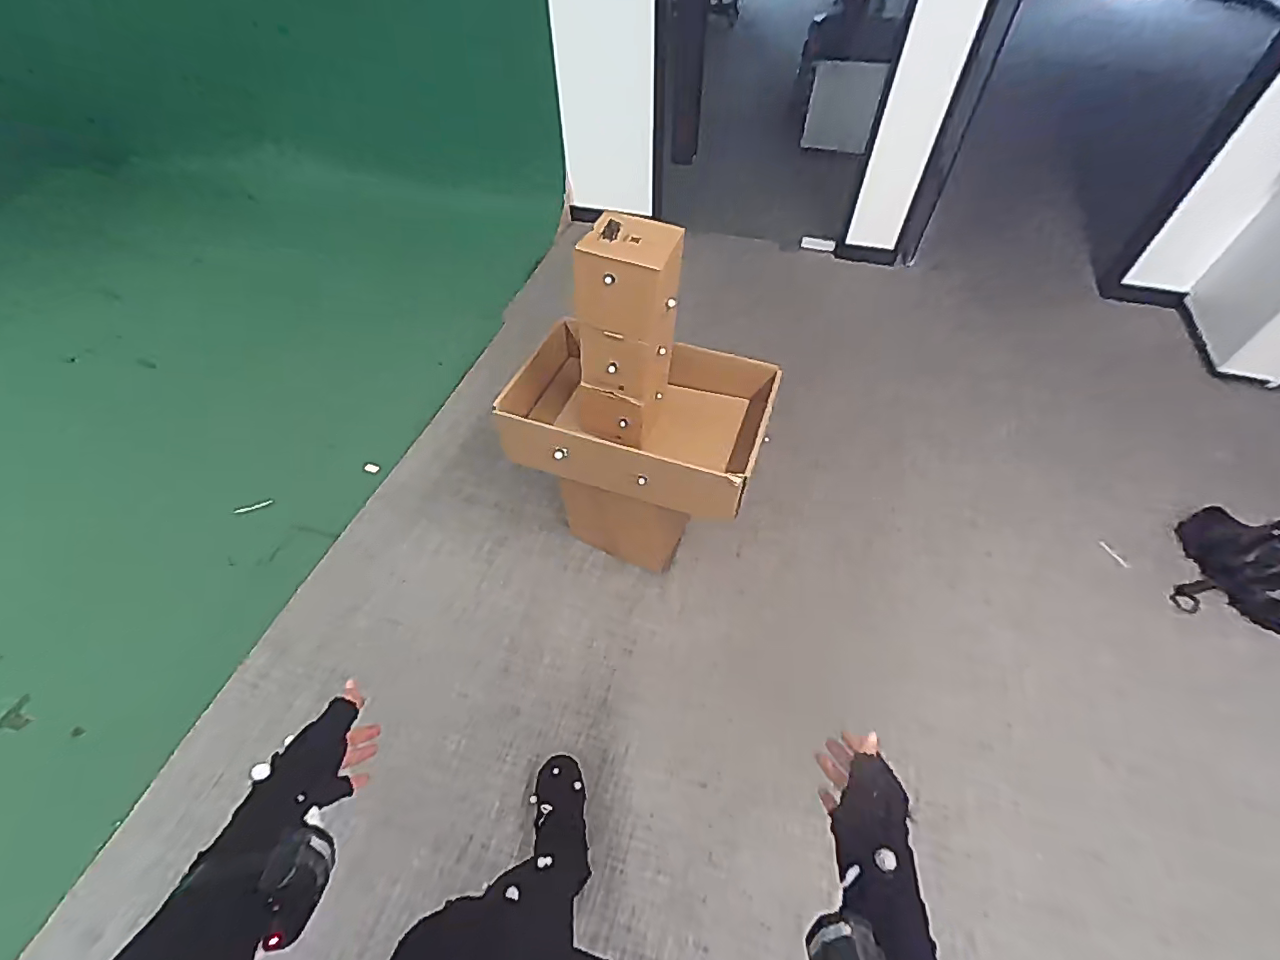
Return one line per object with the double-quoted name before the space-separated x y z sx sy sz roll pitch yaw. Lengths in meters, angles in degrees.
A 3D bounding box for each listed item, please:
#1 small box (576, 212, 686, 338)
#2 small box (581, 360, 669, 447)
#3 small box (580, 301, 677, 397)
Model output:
"small box" -0.020 -0.419 1.118 0.179 0.176 0.168 18 54 9
"small box" -0.036 -0.213 1.374 0.168 0.176 0.179 20 52 11
"small box" -0.025 -0.320 1.250 0.168 0.176 0.179 19 55 11
